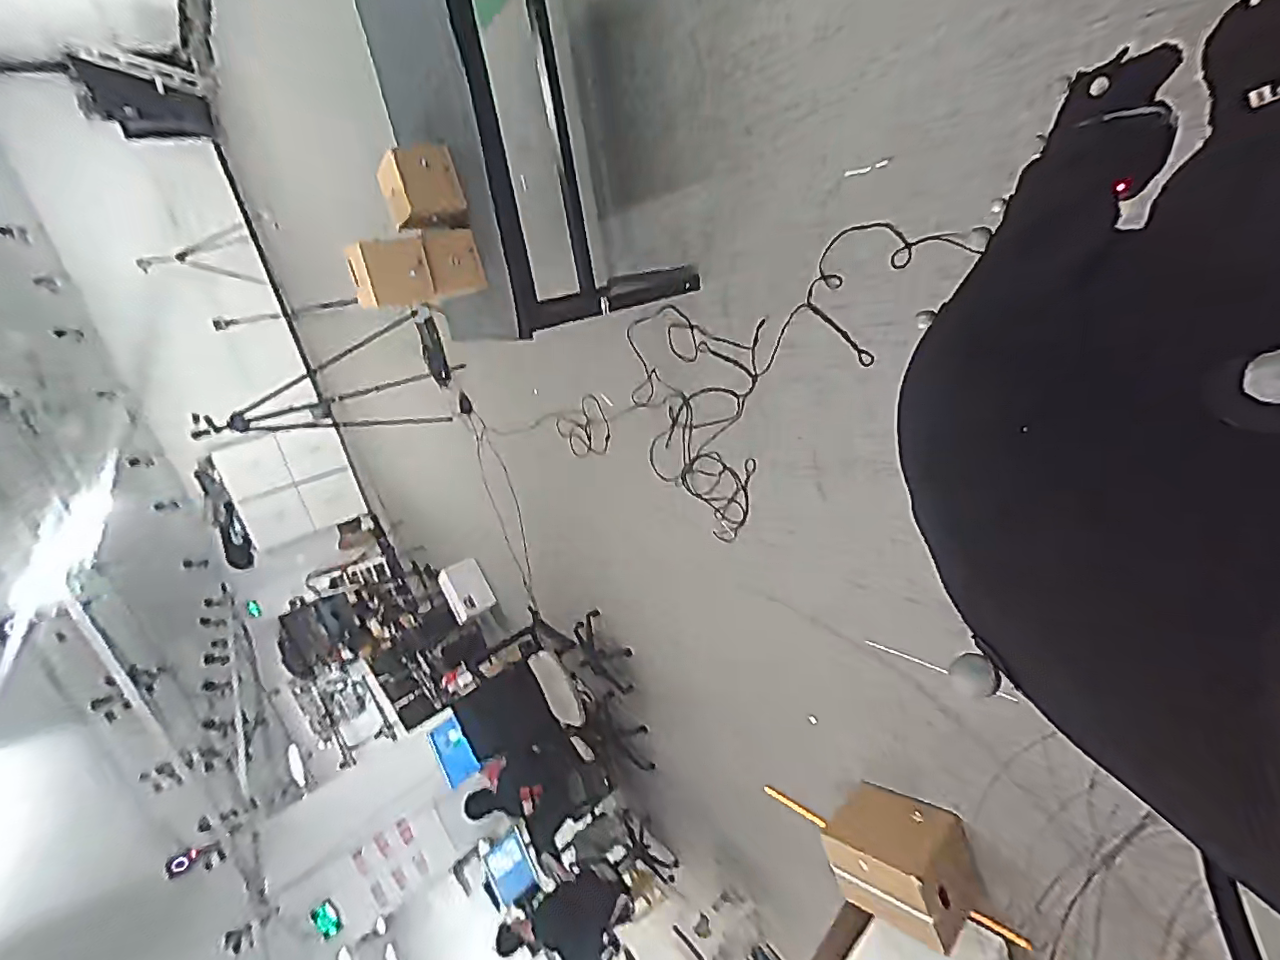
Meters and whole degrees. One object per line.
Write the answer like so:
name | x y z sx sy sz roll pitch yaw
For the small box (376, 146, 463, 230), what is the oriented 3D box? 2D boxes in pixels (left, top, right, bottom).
small box | -0.629 -0.839 1.555 0.179 0.176 0.168 3 113 54

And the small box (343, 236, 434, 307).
small box | -0.704 -0.586 1.521 0.179 0.176 0.168 20 126 46
